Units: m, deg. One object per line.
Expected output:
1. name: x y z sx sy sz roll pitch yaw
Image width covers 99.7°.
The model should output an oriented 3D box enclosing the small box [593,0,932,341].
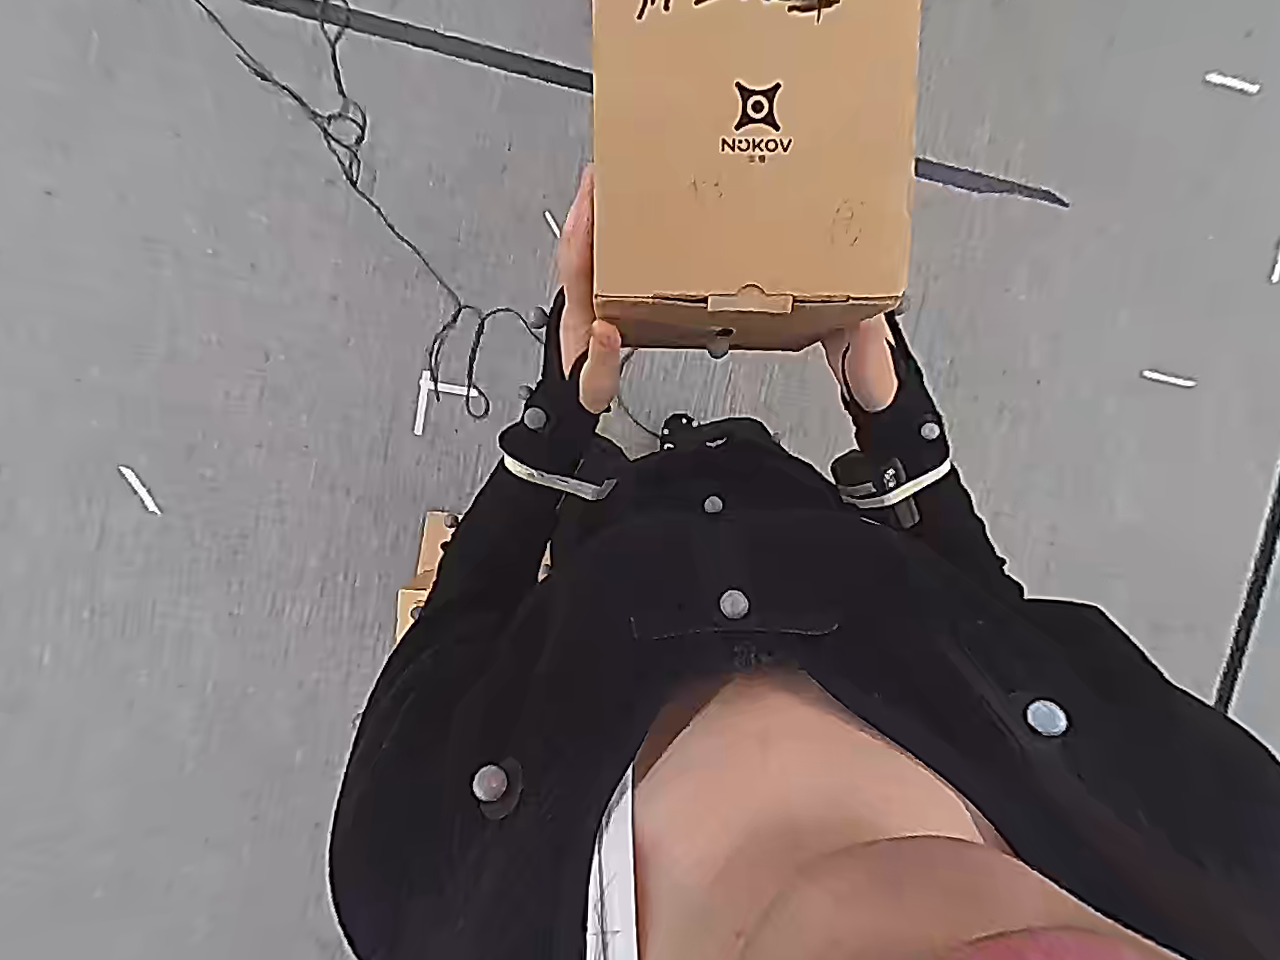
1. small box: 0.058 -0.188 0.348 0.168 0.176 0.179 0 96 -2
